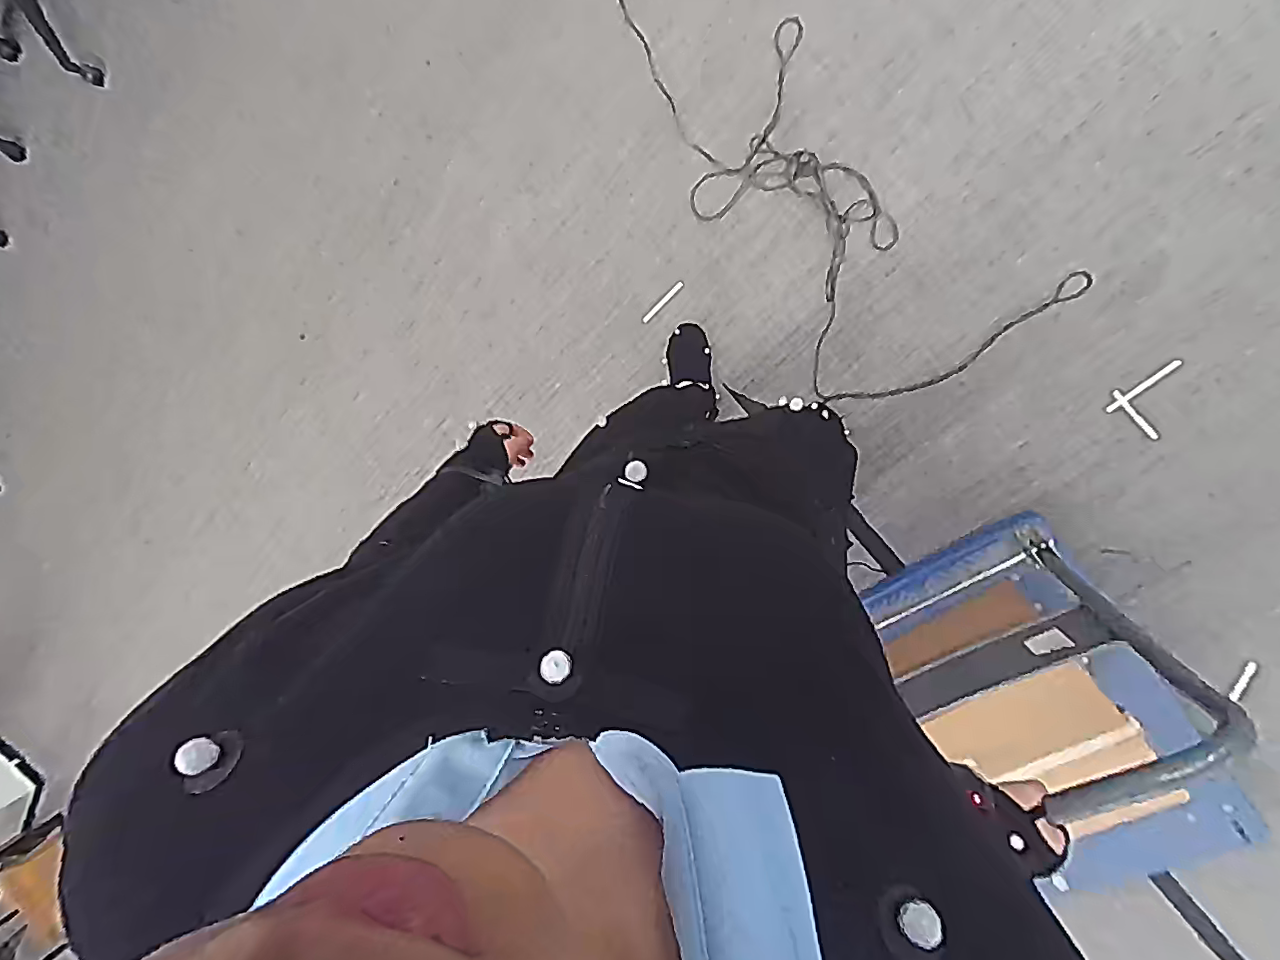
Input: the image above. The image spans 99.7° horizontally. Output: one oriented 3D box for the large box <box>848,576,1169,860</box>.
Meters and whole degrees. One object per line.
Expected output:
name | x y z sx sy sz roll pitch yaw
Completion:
large box | 0.702 0.473 1.118 0.408 0.320 0.320 -40 90 23
